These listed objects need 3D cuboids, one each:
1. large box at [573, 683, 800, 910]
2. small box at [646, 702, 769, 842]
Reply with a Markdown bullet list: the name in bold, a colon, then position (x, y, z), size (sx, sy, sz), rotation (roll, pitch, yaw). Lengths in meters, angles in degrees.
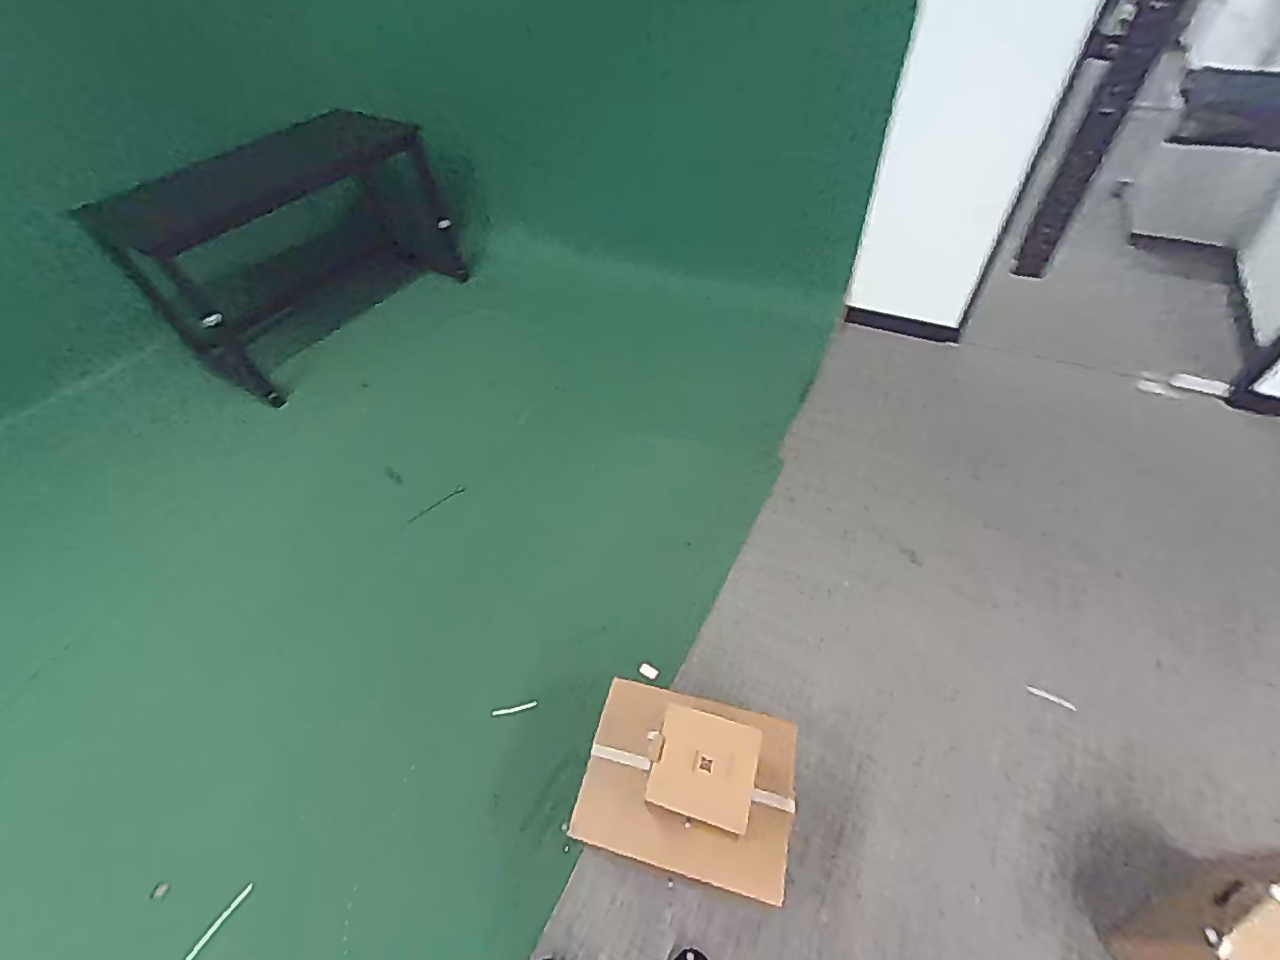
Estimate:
- **large box**: position (0.117, 0.684, 1.172), size (0.408, 0.320, 0.320), rotation (9, 51, 14)
- **small box**: position (0.124, 0.531, 0.977), size (0.179, 0.176, 0.168), rotation (12, 54, 15)
